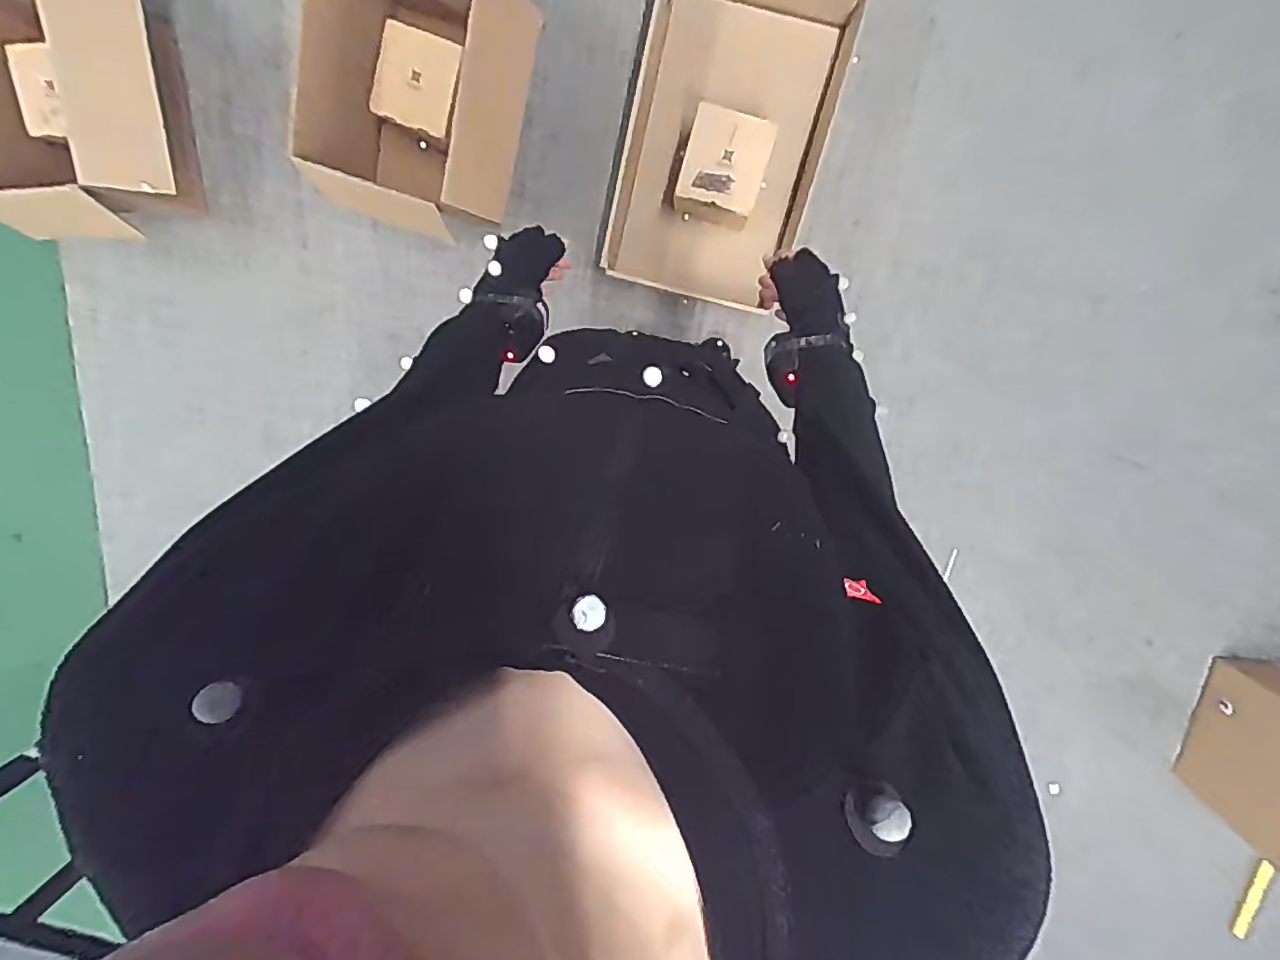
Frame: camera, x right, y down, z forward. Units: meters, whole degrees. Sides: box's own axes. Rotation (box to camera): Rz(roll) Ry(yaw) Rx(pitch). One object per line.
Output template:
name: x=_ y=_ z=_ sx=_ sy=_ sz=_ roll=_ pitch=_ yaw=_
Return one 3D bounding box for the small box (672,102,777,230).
small box: x=0.174 y=-0.657 z=1.156 sx=0.168 sy=0.176 sz=0.179 roll=17 pitch=104 yaw=-1
